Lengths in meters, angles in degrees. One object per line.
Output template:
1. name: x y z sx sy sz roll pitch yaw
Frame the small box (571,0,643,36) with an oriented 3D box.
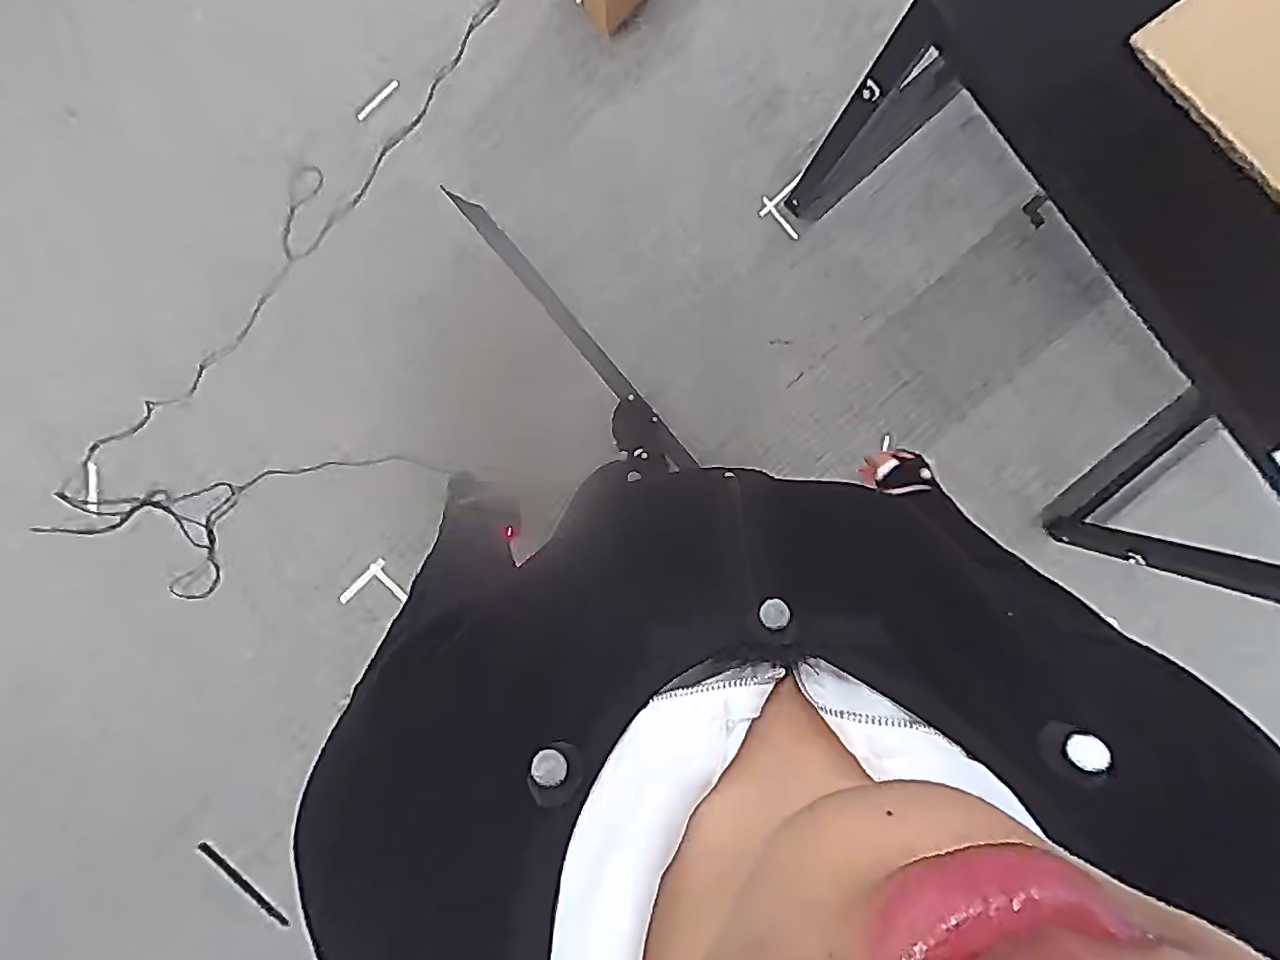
1. small box: -0.079 -1.229 1.281 0.179 0.176 0.168 -45 94 5
